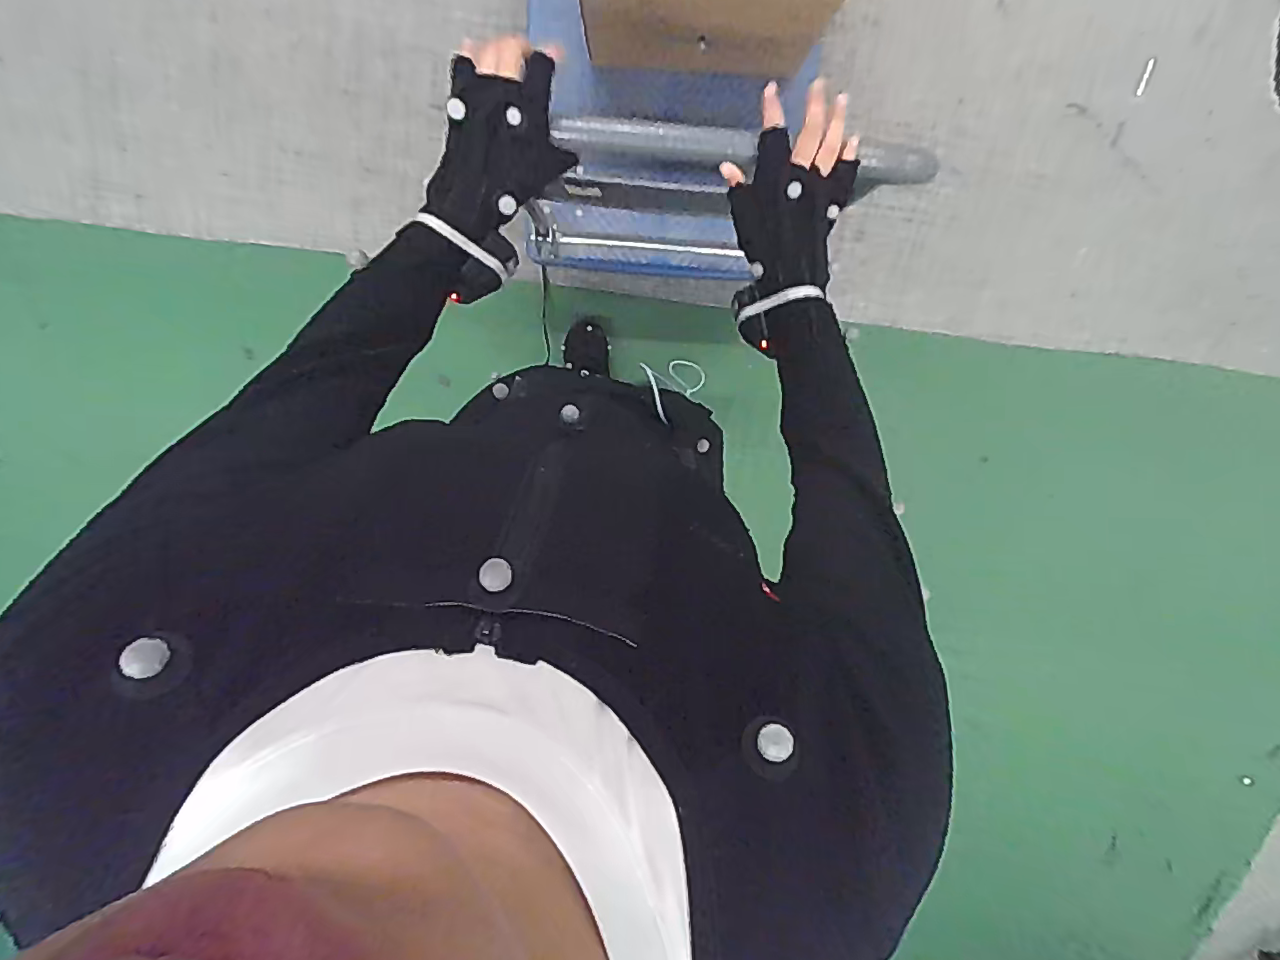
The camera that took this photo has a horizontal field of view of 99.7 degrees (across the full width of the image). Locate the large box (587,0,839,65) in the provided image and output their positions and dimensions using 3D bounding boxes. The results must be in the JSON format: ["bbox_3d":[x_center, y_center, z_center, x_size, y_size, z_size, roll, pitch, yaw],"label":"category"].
[{"bbox_3d":[0.118,-0.925,0.884,0.408,0.320,0.320,2,107,-1],"label":"large box"}]
